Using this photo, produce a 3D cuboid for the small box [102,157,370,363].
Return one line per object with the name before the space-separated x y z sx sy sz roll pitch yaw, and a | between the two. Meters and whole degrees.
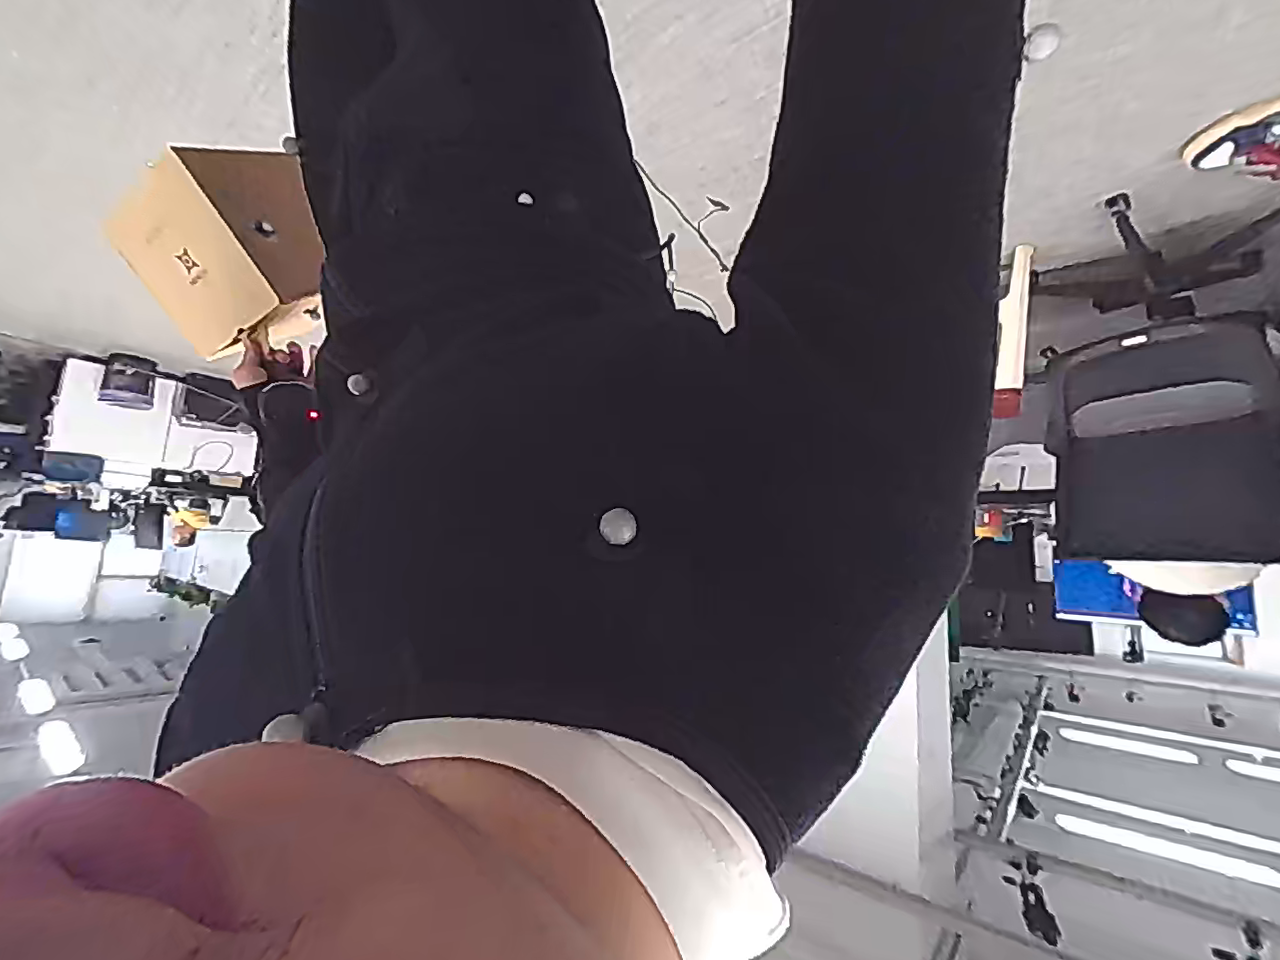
small box | -0.488 -0.278 0.681 0.168 0.179 0.176 -20 -158 23
